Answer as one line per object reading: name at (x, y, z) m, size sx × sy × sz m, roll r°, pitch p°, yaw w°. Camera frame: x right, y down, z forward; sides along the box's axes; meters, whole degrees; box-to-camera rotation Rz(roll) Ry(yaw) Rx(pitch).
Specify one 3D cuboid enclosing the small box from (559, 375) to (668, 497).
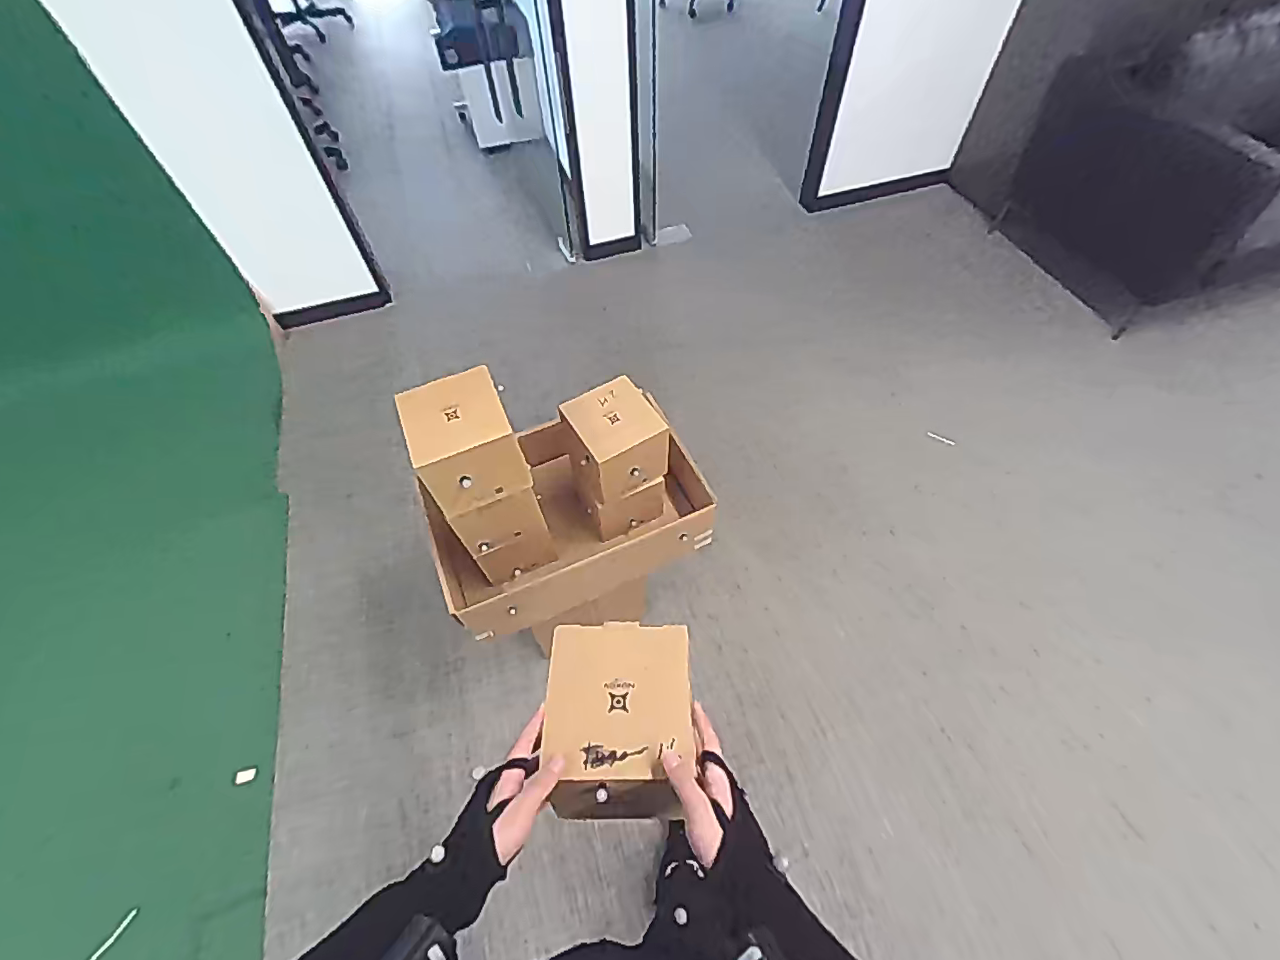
small box at (-0.053, -0.085, 1.154) m, size 0.168 × 0.176 × 0.179 m, roll -27°, pitch 60°, yaw -16°

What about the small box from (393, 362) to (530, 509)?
small box at (-0.309, -0.070, 0.958) m, size 0.168 × 0.176 × 0.179 m, roll -22°, pitch 58°, yaw -11°

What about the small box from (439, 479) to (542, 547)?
small box at (-0.309, 0.016, 1.096) m, size 0.168 × 0.176 × 0.179 m, roll -20°, pitch 57°, yaw -11°

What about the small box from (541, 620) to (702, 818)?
small box at (-0.018, 0.289, 0.656) m, size 0.168 × 0.176 × 0.179 m, roll -1°, pitch 47°, yaw 0°
